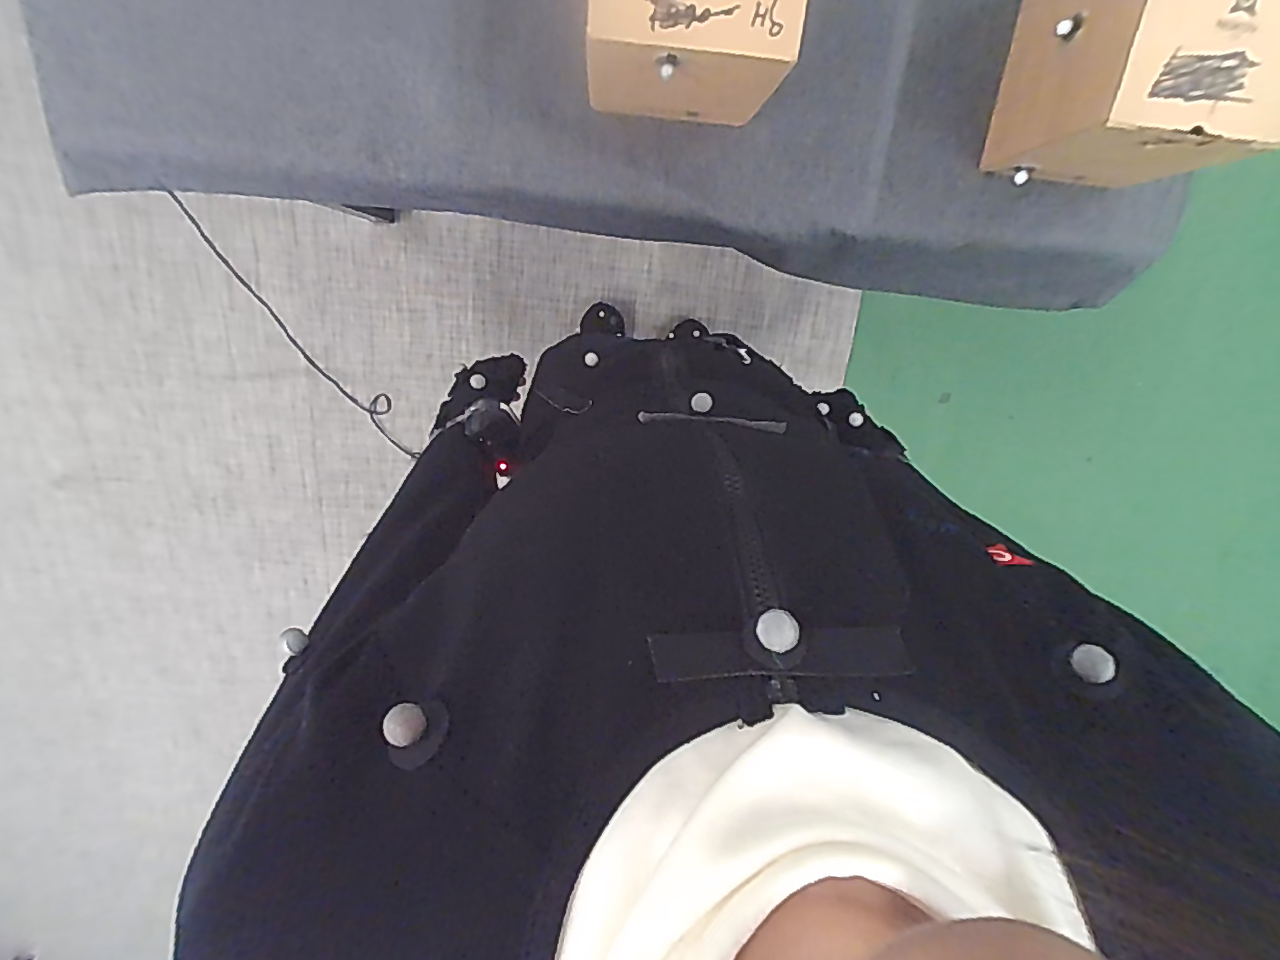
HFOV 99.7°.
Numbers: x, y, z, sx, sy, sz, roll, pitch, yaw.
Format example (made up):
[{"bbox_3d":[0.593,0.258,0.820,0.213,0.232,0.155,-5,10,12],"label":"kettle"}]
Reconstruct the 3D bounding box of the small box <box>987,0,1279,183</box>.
[{"bbox_3d":[0.467,-0.396,0.504,0.168,0.176,0.179,5,107,-5],"label":"small box"}]

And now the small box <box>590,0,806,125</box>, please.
[{"bbox_3d":[0.044,-0.439,0.465,0.168,0.176,0.179,3,108,-5],"label":"small box"}]
